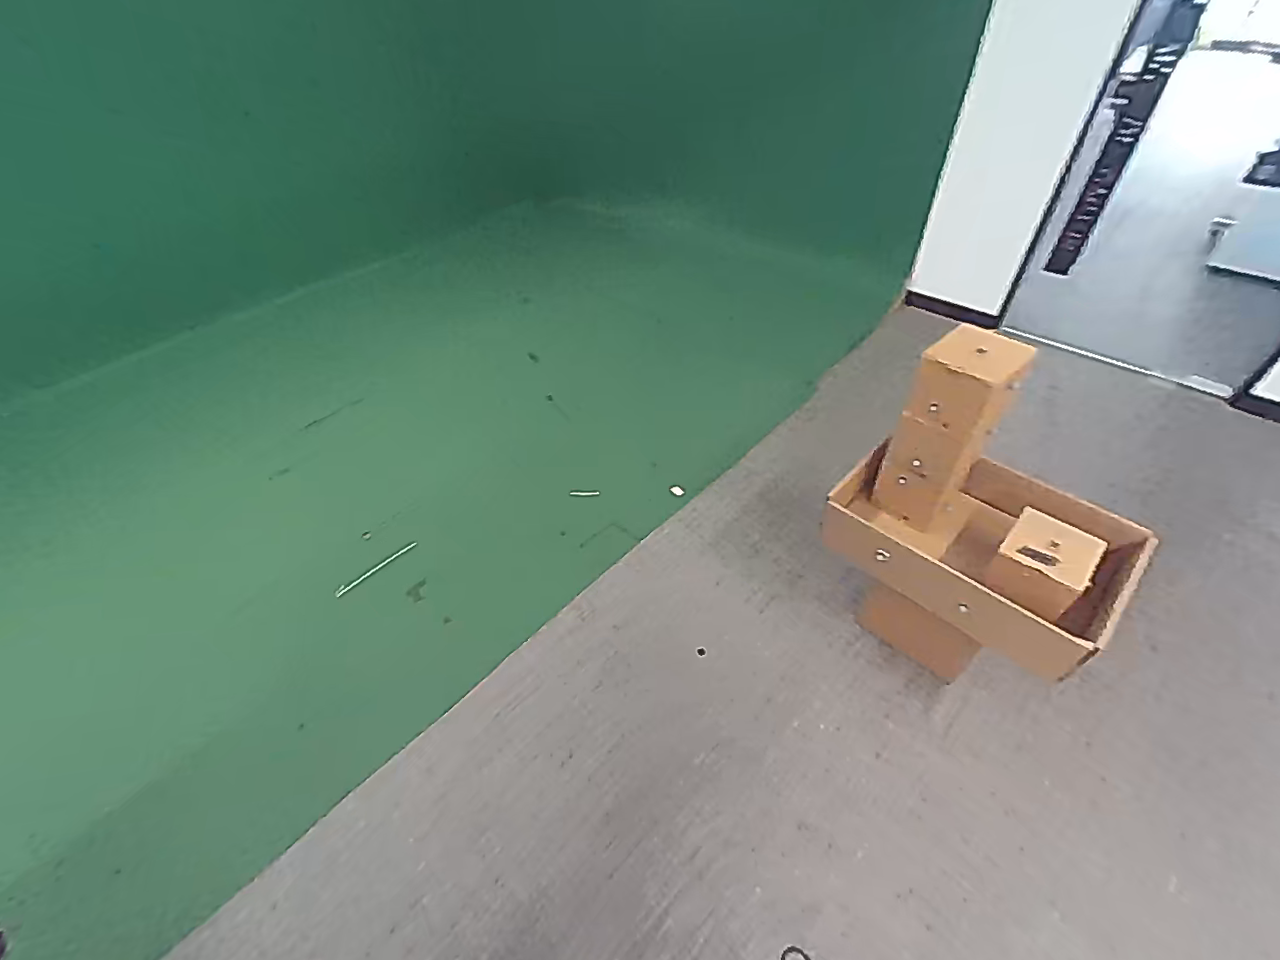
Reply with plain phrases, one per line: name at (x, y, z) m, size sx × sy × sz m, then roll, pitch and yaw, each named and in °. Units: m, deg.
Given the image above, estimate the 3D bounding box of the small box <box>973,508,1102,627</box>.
small box at (0.911, 0.206, 1.255) m, size 0.168 × 0.176 × 0.179 m, roll 34°, pitch 57°, yaw 31°

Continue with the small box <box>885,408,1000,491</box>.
small box at (0.741, -0.107, 1.343) m, size 0.179 × 0.176 × 0.168 m, roll -35°, pitch 52°, yaw -24°

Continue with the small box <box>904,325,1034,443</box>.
small box at (0.732, -0.216, 1.223) m, size 0.179 × 0.176 × 0.168 m, roll -34°, pitch 53°, yaw -23°

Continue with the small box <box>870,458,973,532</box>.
small box at (0.752, 0.004, 1.463) m, size 0.179 × 0.176 × 0.168 m, roll -36°, pitch 54°, yaw -25°
